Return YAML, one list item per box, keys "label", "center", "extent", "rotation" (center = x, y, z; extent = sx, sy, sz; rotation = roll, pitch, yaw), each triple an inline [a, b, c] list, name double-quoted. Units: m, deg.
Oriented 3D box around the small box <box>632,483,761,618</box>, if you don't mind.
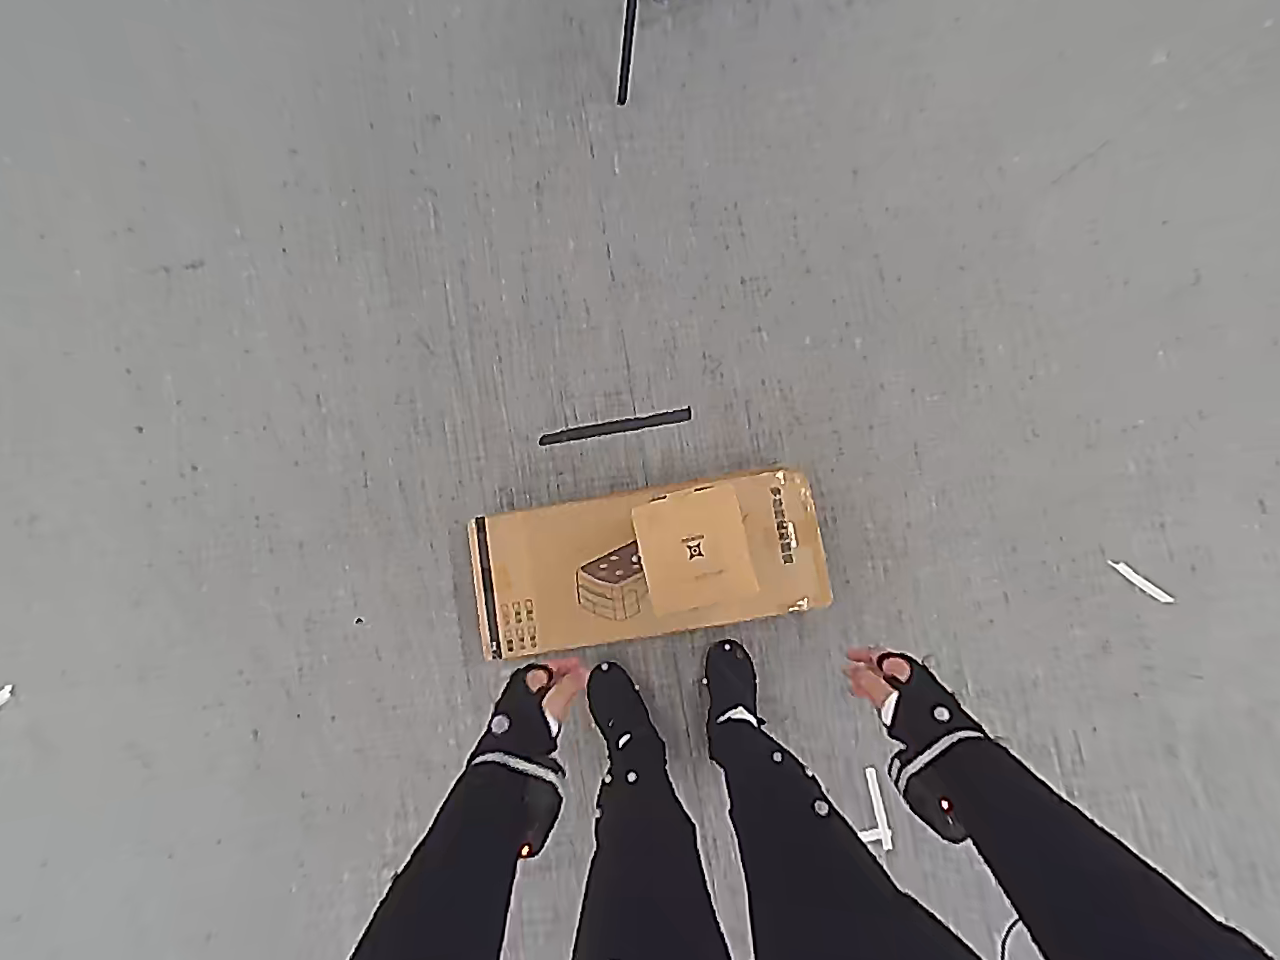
- label: "small box"
  center: [0.084, 0.115, 0.894]
  extent: [0.168, 0.176, 0.179]
  rotation: [-14, 84, -1]
